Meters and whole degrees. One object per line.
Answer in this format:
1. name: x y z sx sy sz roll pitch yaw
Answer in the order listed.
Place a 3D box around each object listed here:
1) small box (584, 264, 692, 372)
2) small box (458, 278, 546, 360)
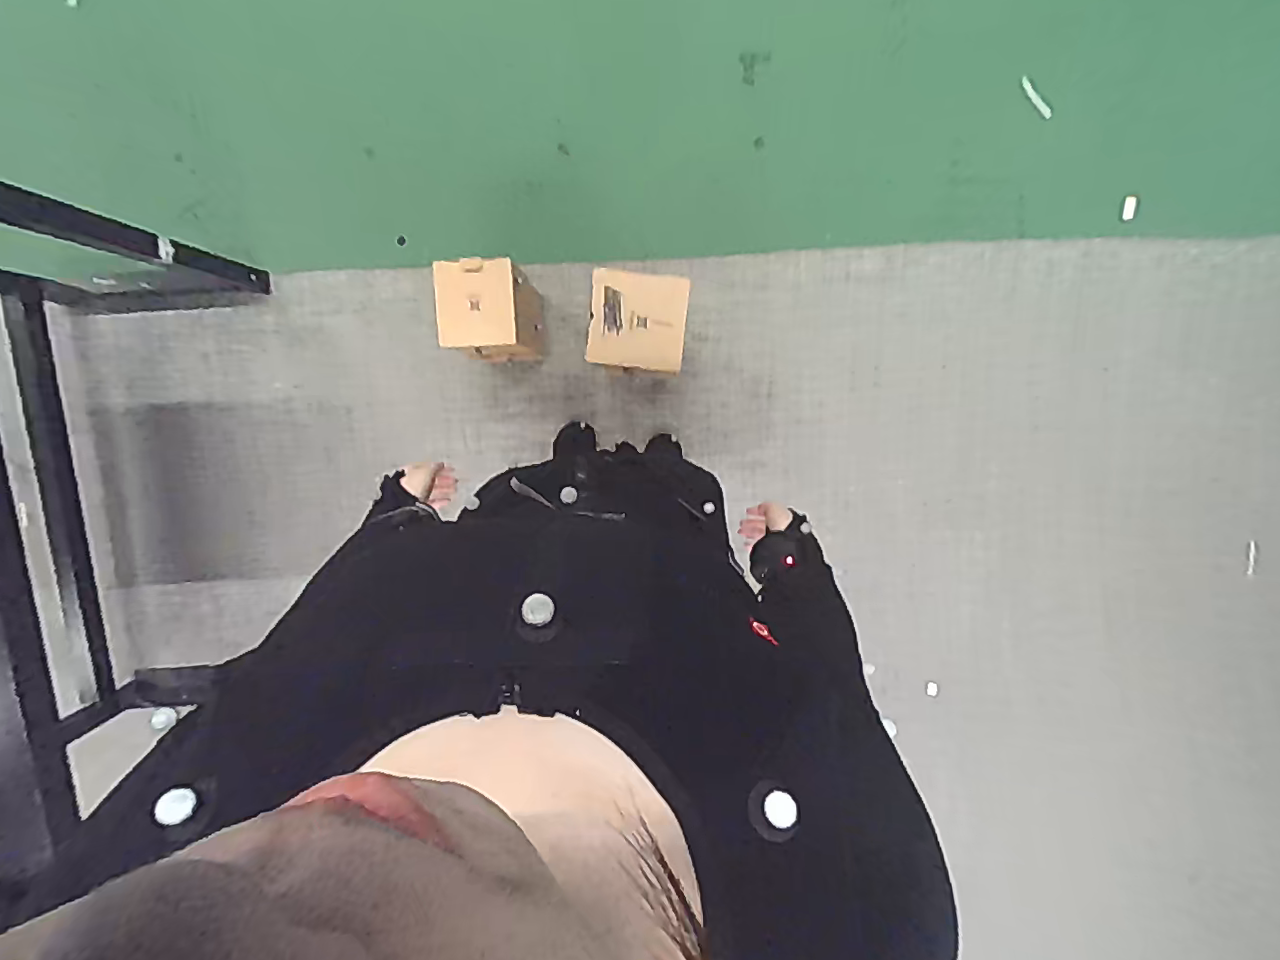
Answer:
1. small box: -0.003 -0.297 1.026 0.179 0.176 0.168 6 99 -1
2. small box: -0.336 -0.393 1.347 0.168 0.176 0.179 -4 99 1
